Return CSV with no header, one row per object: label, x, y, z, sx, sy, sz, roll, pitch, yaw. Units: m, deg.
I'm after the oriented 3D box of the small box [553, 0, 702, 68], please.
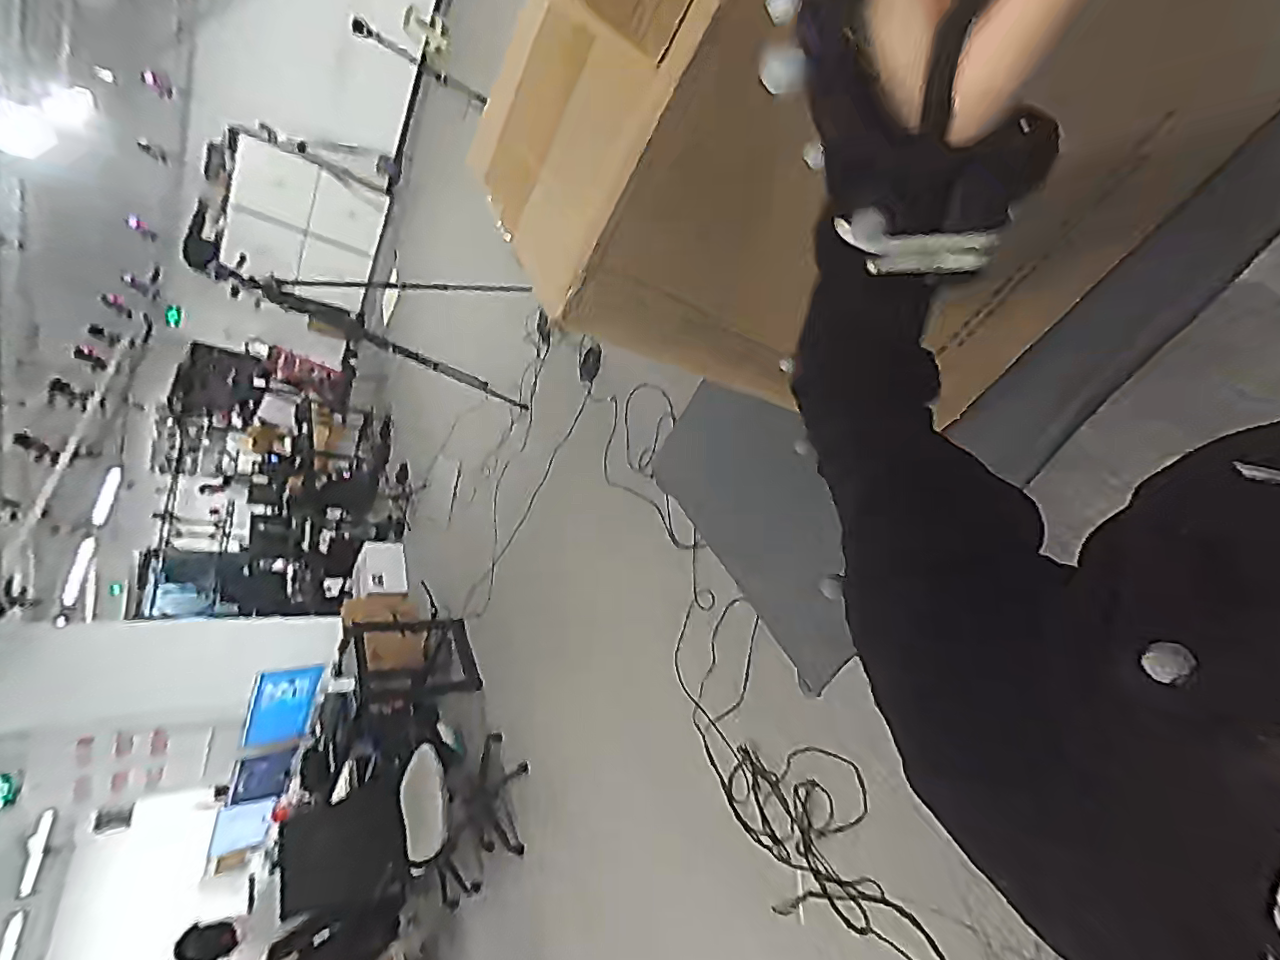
small box,-0.031,-0.391,0.321,0.168,0.176,0.179,-54,46,30
